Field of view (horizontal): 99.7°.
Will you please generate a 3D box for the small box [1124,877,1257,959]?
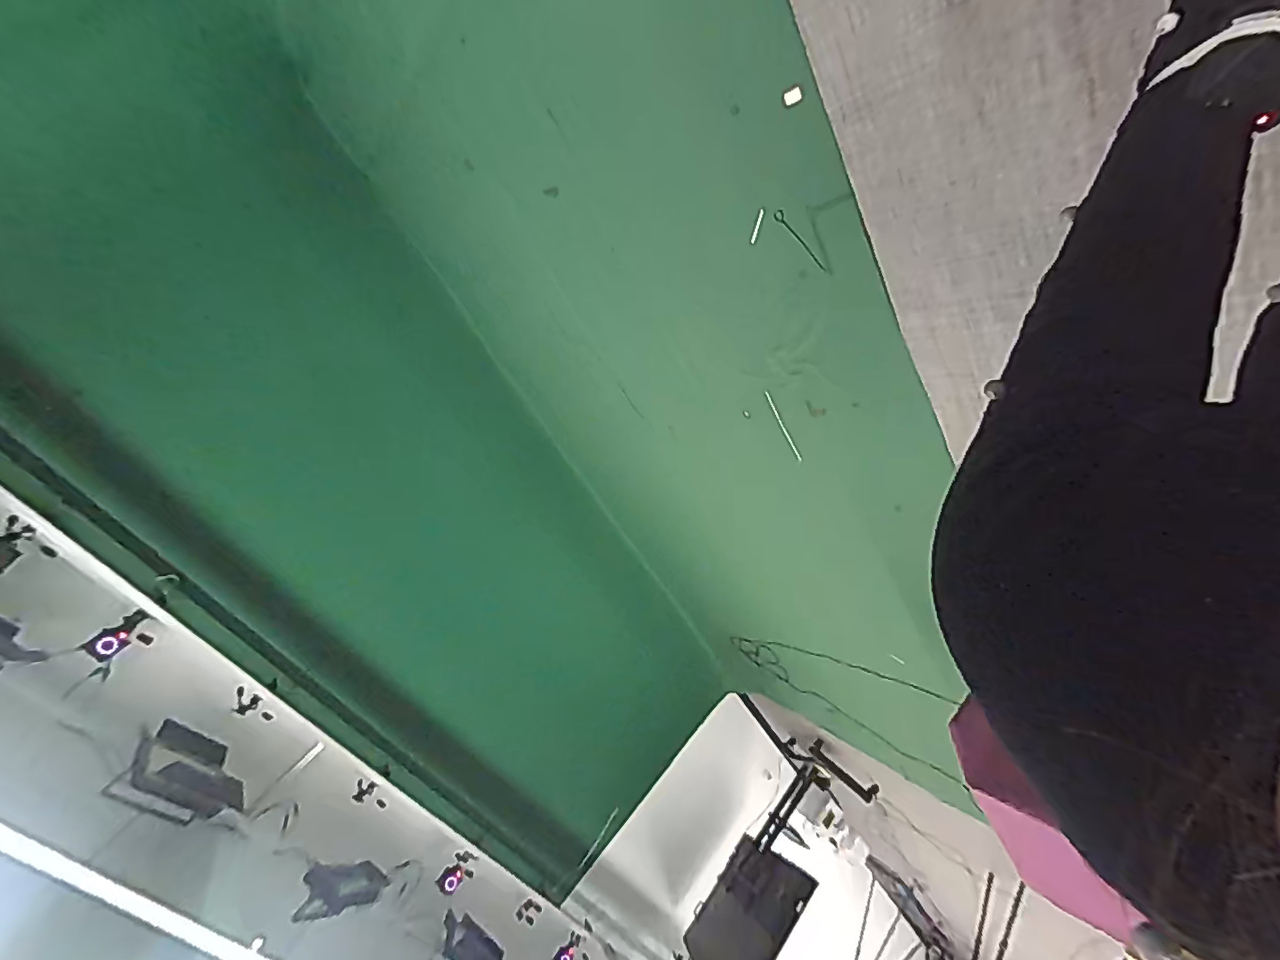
[{"bbox_3d":[1.242,1.055,1.217,0.168,0.176,0.179,55,158,-23],"label":"small box"}]
